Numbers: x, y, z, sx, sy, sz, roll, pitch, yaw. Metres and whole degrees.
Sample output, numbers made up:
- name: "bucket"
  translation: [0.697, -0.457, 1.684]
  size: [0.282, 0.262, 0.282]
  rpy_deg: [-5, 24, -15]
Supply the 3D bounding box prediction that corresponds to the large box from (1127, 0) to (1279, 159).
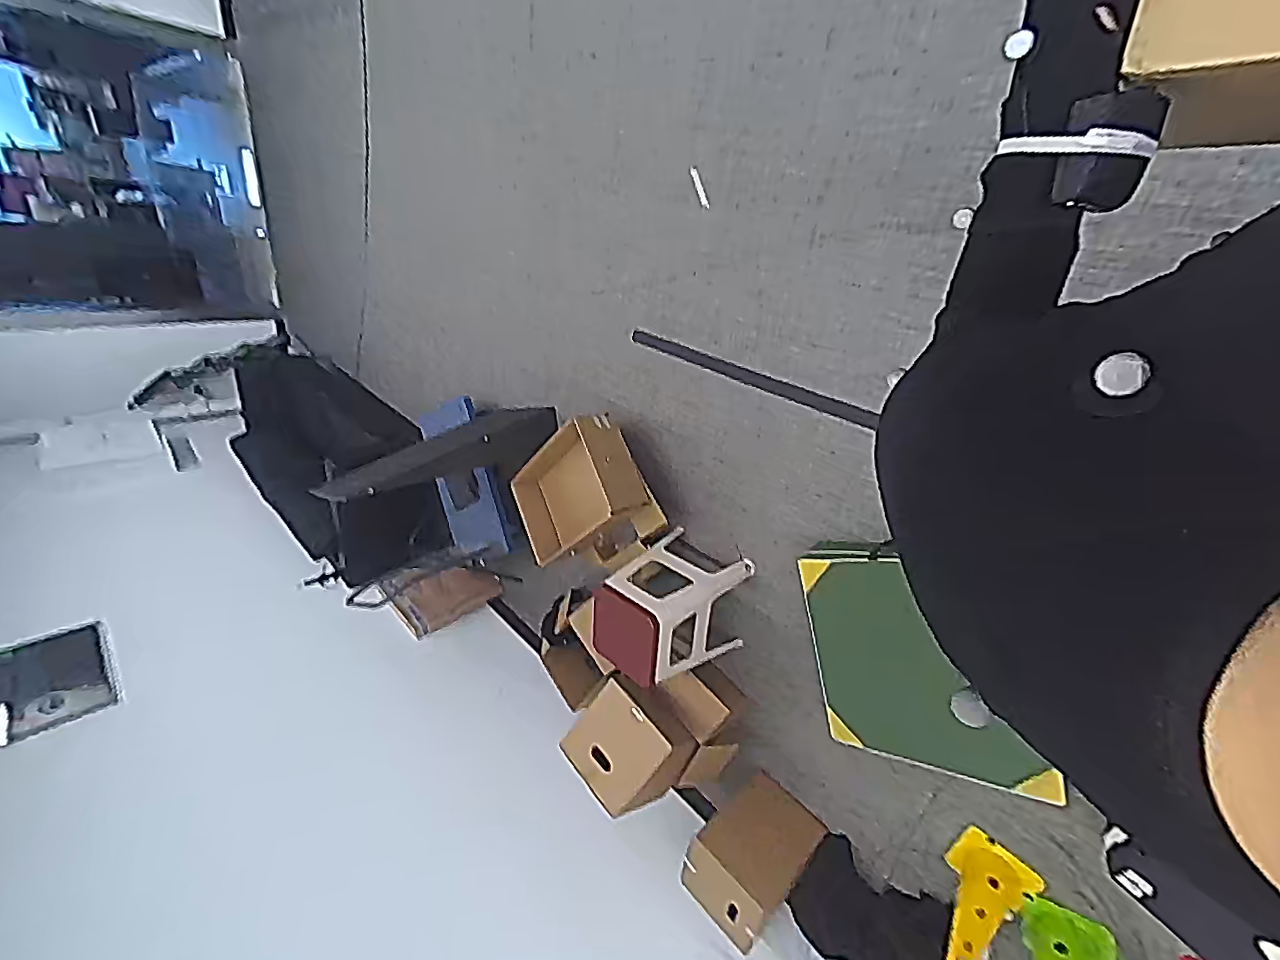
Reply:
- name: "large box"
  translation: [0.566, -0.378, 0.282]
  size: [0.408, 0.320, 0.320]
  rpy_deg: [22, 120, 37]
